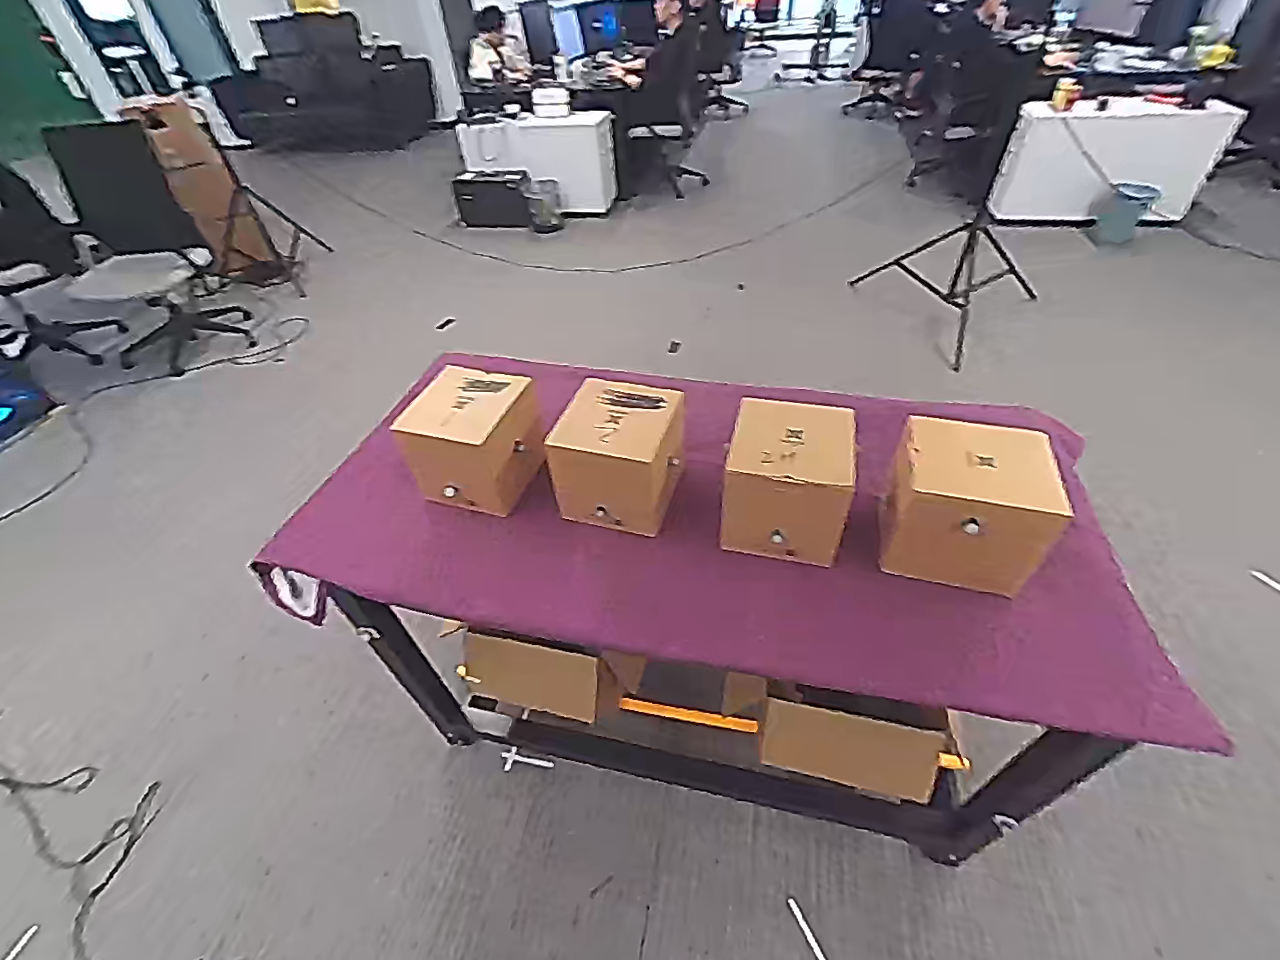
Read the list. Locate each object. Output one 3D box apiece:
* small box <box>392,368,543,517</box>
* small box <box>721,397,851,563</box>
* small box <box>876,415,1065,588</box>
[{"bbox_3d":[-0.280,-0.066,0.928,0.168,0.176,0.179,11,48,15],"label":"small box"},{"bbox_3d":[0.218,-0.002,0.823,0.168,0.176,0.179,8,45,14],"label":"small box"},{"bbox_3d":[0.451,0.032,0.770,0.179,0.176,0.168,10,44,15],"label":"small box"}]
